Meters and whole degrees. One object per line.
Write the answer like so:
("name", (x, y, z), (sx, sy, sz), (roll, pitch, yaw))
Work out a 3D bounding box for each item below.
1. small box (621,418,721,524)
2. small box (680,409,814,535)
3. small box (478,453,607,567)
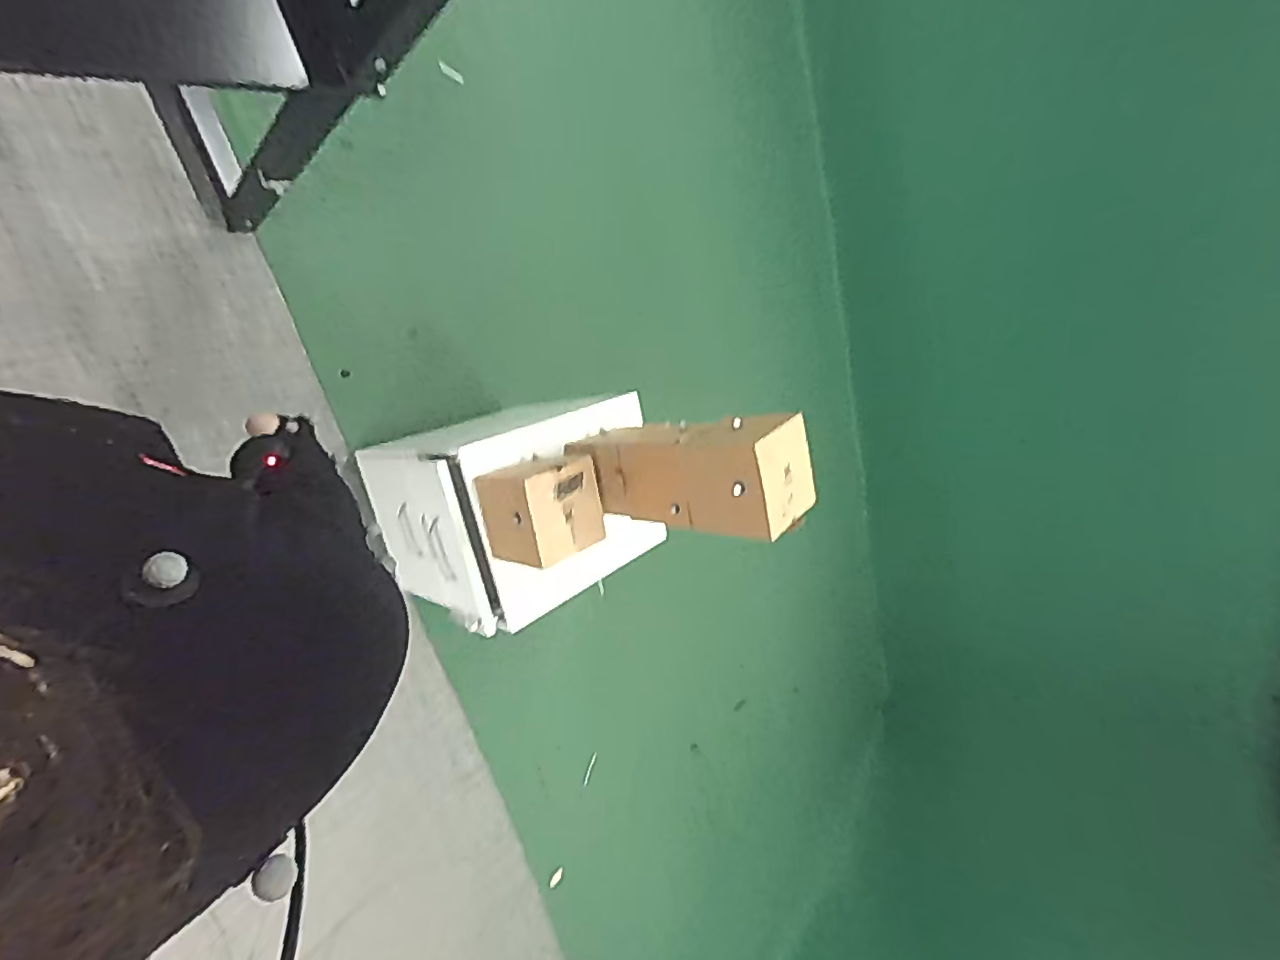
("small box", (0.078, -0.023, 1.098), (0.168, 0.176, 0.179), (-22, 109, -44))
("small box", (0.192, -0.019, 0.980), (0.168, 0.176, 0.179), (-31, 115, -40))
("small box", (-0.192, 0.050, 1.051), (0.168, 0.176, 0.179), (-23, 110, -44))
